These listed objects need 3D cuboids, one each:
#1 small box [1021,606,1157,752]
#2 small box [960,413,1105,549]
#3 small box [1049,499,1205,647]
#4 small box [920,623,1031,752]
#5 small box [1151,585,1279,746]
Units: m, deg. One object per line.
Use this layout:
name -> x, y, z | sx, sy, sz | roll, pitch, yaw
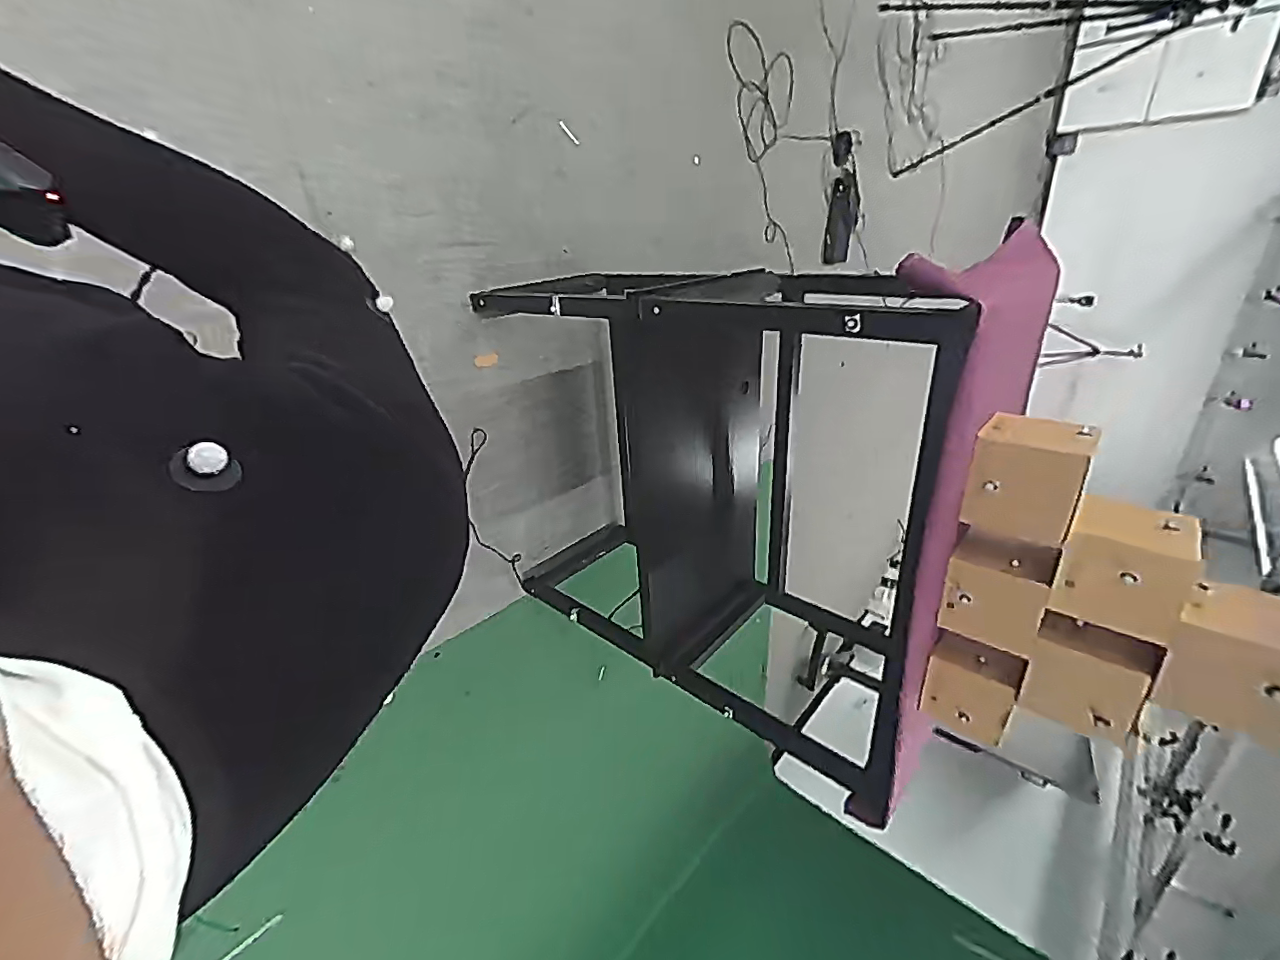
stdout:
small box -> 0.852, 0.364, 1.034 | 0.168, 0.176, 0.179 | -27, 123, -42
small box -> 0.708, -0.007, 0.987 | 0.168, 0.176, 0.179 | -27, 124, -41
small box -> 0.835, 0.150, 0.937 | 0.179, 0.176, 0.168 | -26, 122, -42
small box -> 0.742, 0.449, 1.200 | 0.179, 0.176, 0.168 | -24, 121, -44
small box -> 0.965, 0.290, 0.880 | 0.168, 0.176, 0.179 | -28, 123, -41
